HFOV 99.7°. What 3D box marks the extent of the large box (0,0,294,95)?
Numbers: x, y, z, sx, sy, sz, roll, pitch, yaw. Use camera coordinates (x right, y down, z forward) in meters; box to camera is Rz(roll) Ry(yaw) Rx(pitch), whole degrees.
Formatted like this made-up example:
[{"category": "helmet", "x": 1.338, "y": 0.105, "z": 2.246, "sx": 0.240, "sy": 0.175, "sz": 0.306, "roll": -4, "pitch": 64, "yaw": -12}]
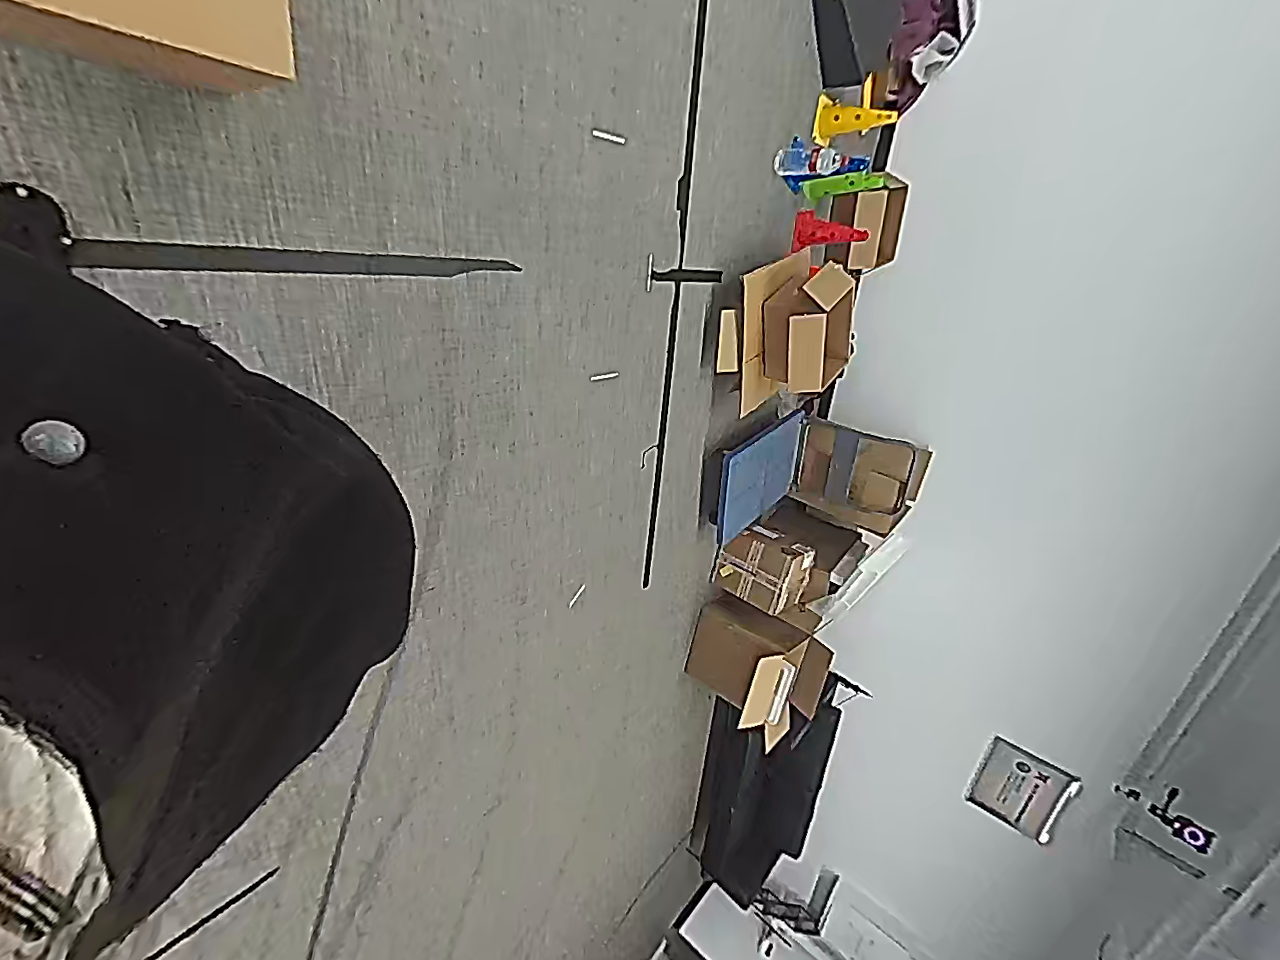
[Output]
[{"category": "large box", "x": -0.798, "y": -0.802, "z": 0.776, "sx": 0.408, "sy": 0.320, "sz": 0.320, "roll": -20, "pitch": 124, "yaw": -48}]
